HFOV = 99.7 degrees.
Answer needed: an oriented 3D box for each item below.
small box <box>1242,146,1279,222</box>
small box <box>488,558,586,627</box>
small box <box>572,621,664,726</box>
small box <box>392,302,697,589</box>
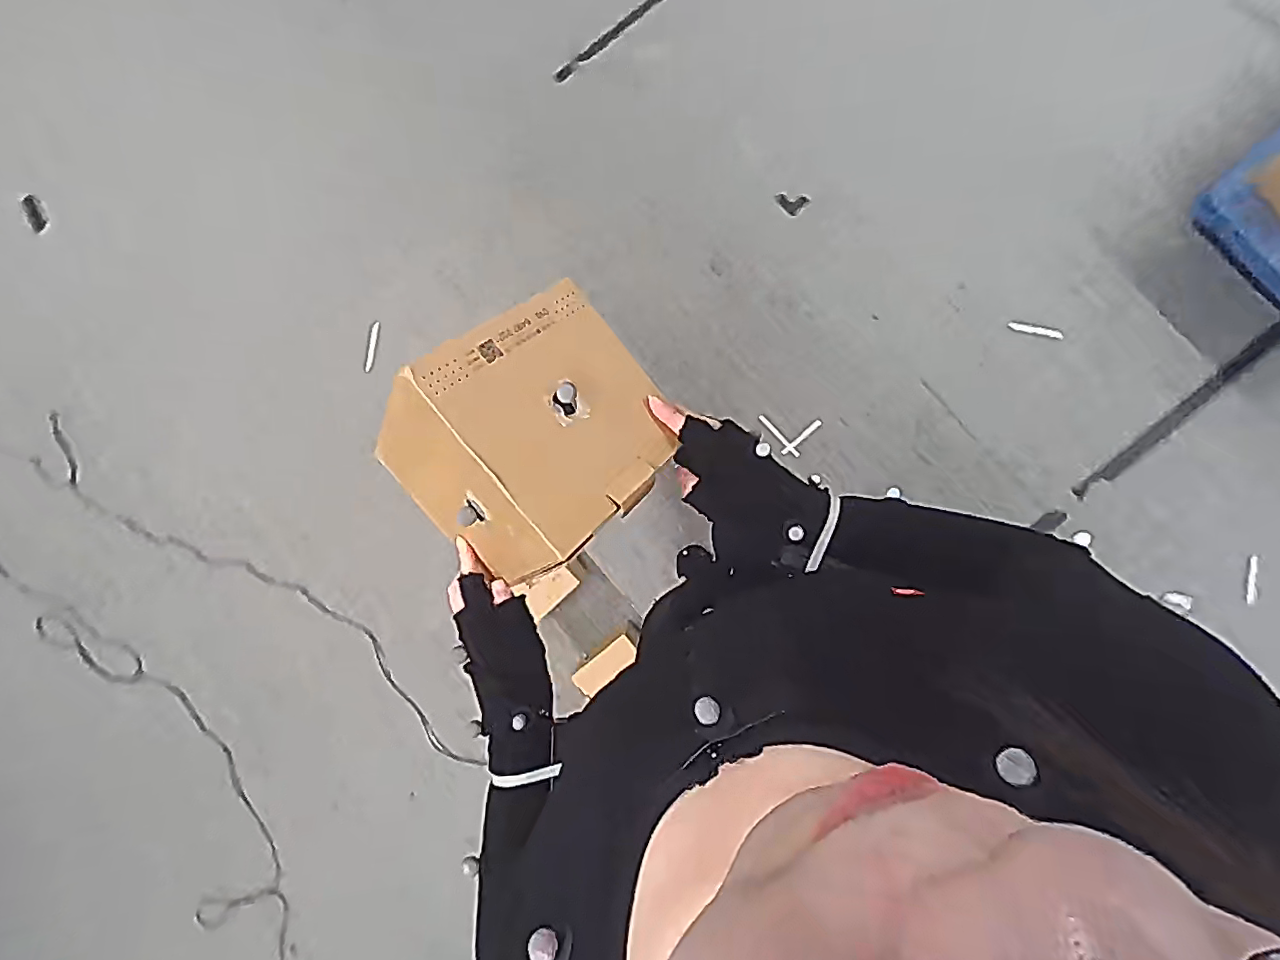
[{"bbox_3d":[1.544,-0.708,1.206,0.168,0.176,0.179,-37,86,0],"label":"small box"},{"bbox_3d":[-0.264,0.259,1.437,0.179,0.176,0.168,-43,87,0],"label":"small box"},{"bbox_3d":[-0.051,0.498,1.419,0.179,0.176,0.168,-39,87,0],"label":"small box"},{"bbox_3d":[-0.091,-0.031,0.475,0.176,0.179,0.168,52,56,-6],"label":"small box"}]
